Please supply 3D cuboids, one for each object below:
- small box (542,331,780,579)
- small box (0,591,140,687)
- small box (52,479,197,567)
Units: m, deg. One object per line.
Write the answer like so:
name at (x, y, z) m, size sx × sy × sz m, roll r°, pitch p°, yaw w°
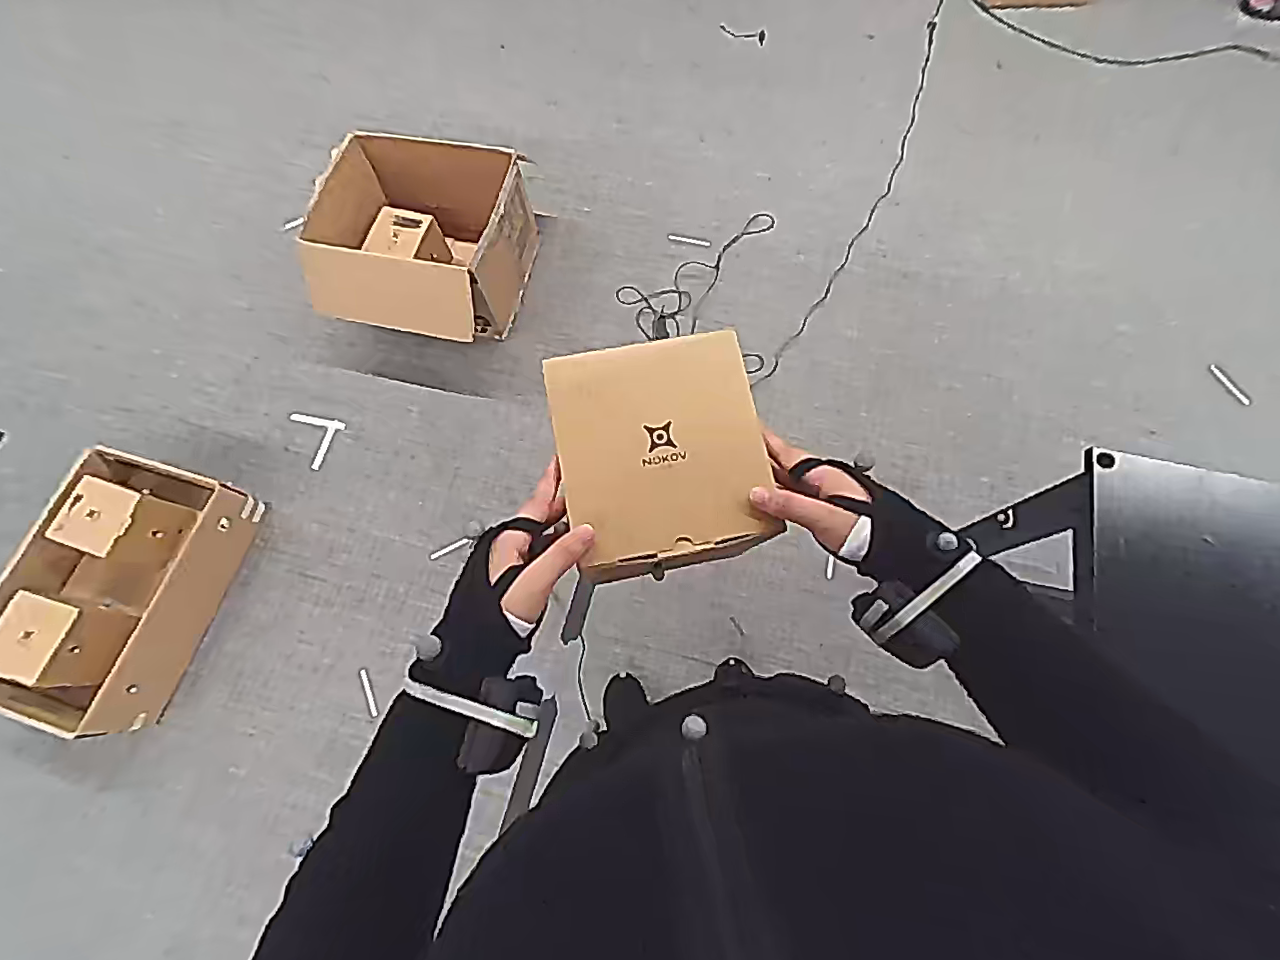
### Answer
small box at (0.009, -0.012, 0.508) m, size 0.168 × 0.176 × 0.179 m, roll -11°, pitch 77°, yaw -6°
small box at (-1.377, 0.385, 1.300) m, size 0.168 × 0.176 × 0.179 m, roll 15°, pitch 70°, yaw 5°
small box at (-1.310, 0.118, 1.391) m, size 0.179 × 0.176 × 0.168 m, roll 17°, pitch 73°, yaw 6°
